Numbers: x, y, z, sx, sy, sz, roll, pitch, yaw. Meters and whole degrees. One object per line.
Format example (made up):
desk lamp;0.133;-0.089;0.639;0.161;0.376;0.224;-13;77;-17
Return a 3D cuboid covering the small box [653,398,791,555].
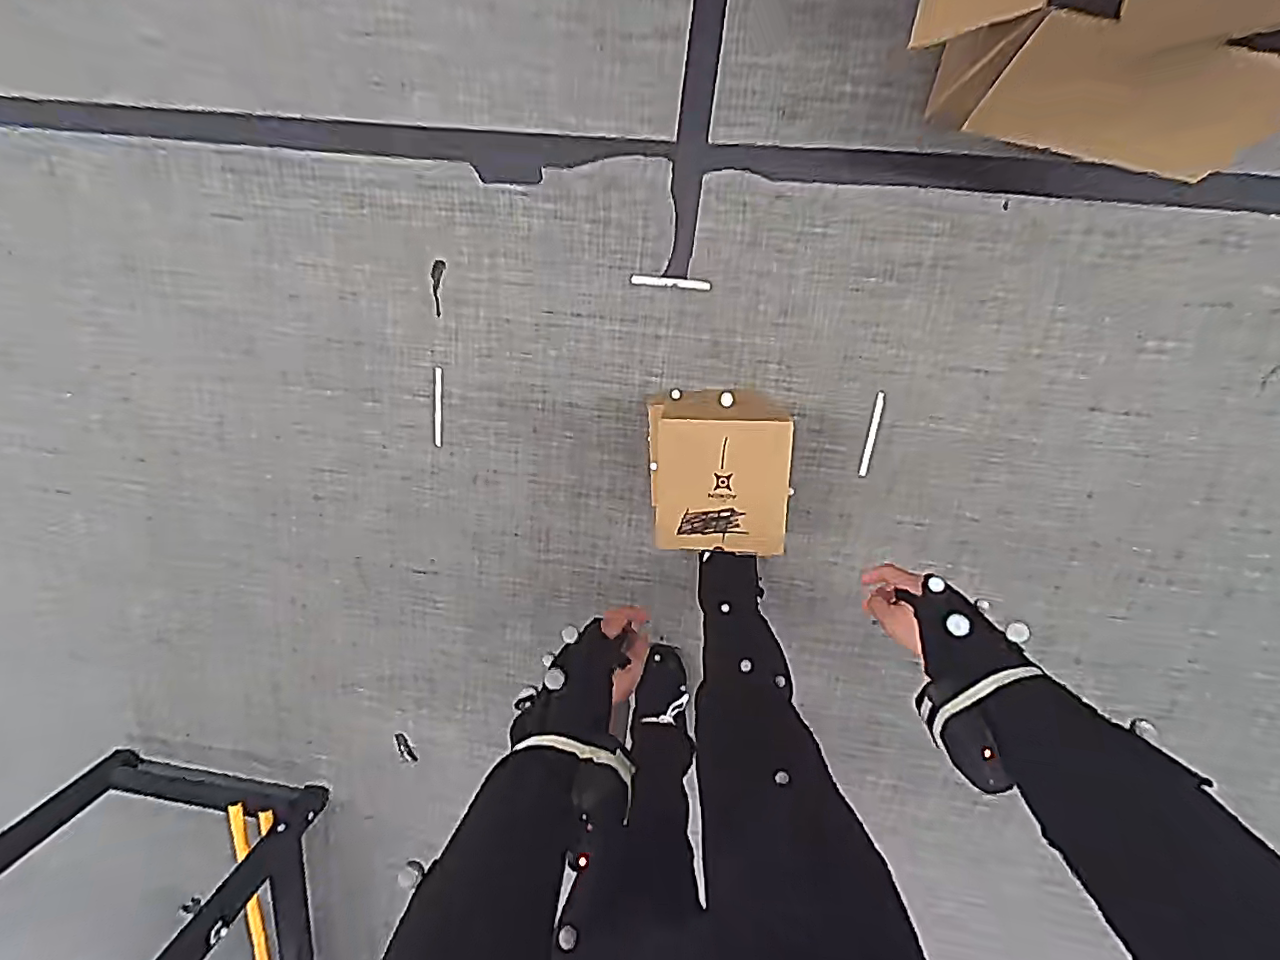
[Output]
small box;0.109;-0.013;0.753;0.168;0.176;0.179;2;106;6
